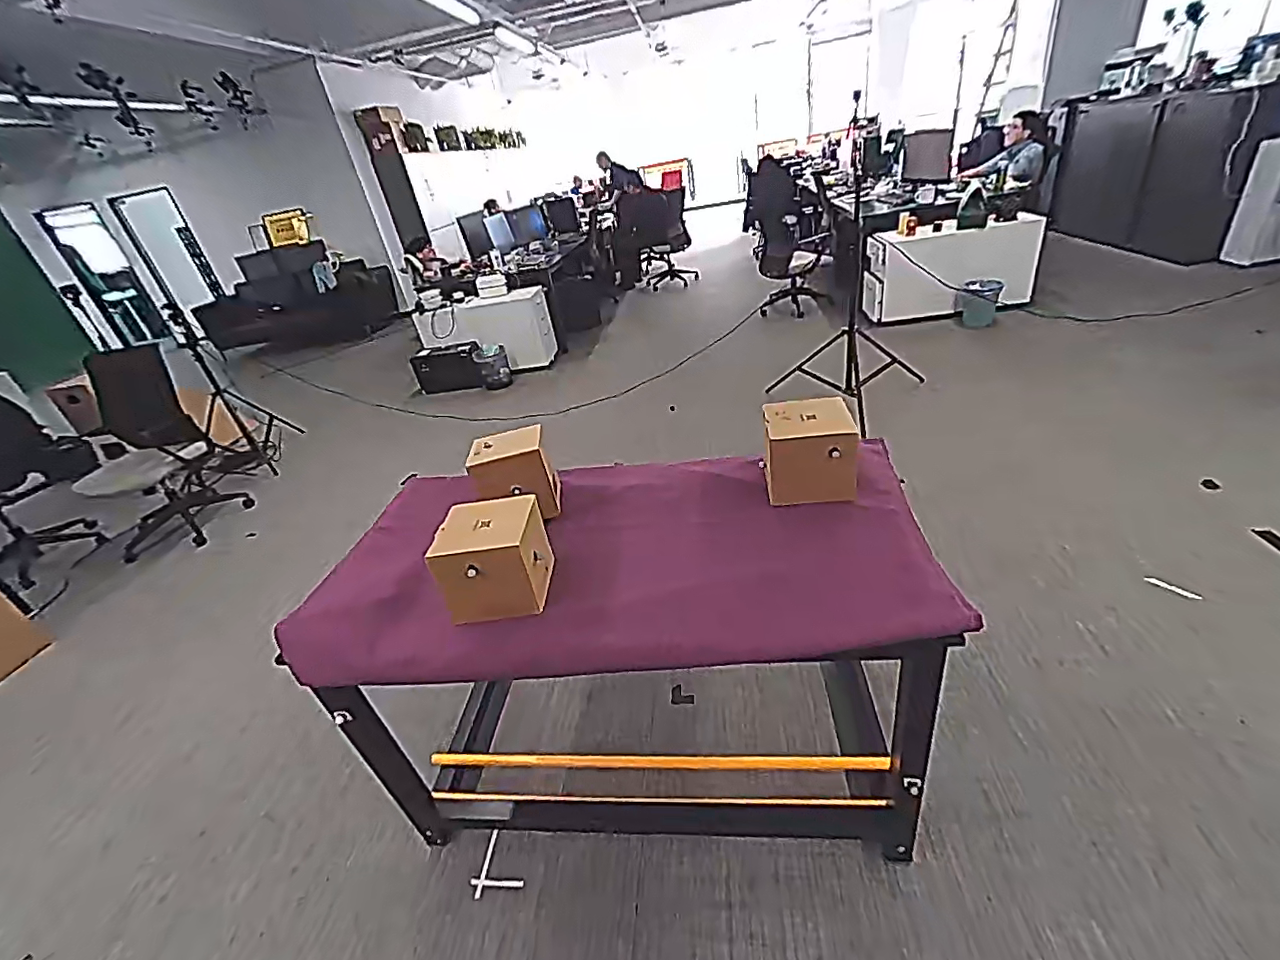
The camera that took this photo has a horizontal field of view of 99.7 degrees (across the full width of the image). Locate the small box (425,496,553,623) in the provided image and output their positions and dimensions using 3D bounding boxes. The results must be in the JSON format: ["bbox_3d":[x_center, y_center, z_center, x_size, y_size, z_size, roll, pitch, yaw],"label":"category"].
[{"bbox_3d":[-0.277,0.153,1.042,0.179,0.176,0.168,-8,30,5],"label":"small box"}]

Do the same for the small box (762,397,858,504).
[{"bbox_3d":[0.363,-0.062,1.179,0.179,0.176,0.168,-5,32,10],"label":"small box"}]
